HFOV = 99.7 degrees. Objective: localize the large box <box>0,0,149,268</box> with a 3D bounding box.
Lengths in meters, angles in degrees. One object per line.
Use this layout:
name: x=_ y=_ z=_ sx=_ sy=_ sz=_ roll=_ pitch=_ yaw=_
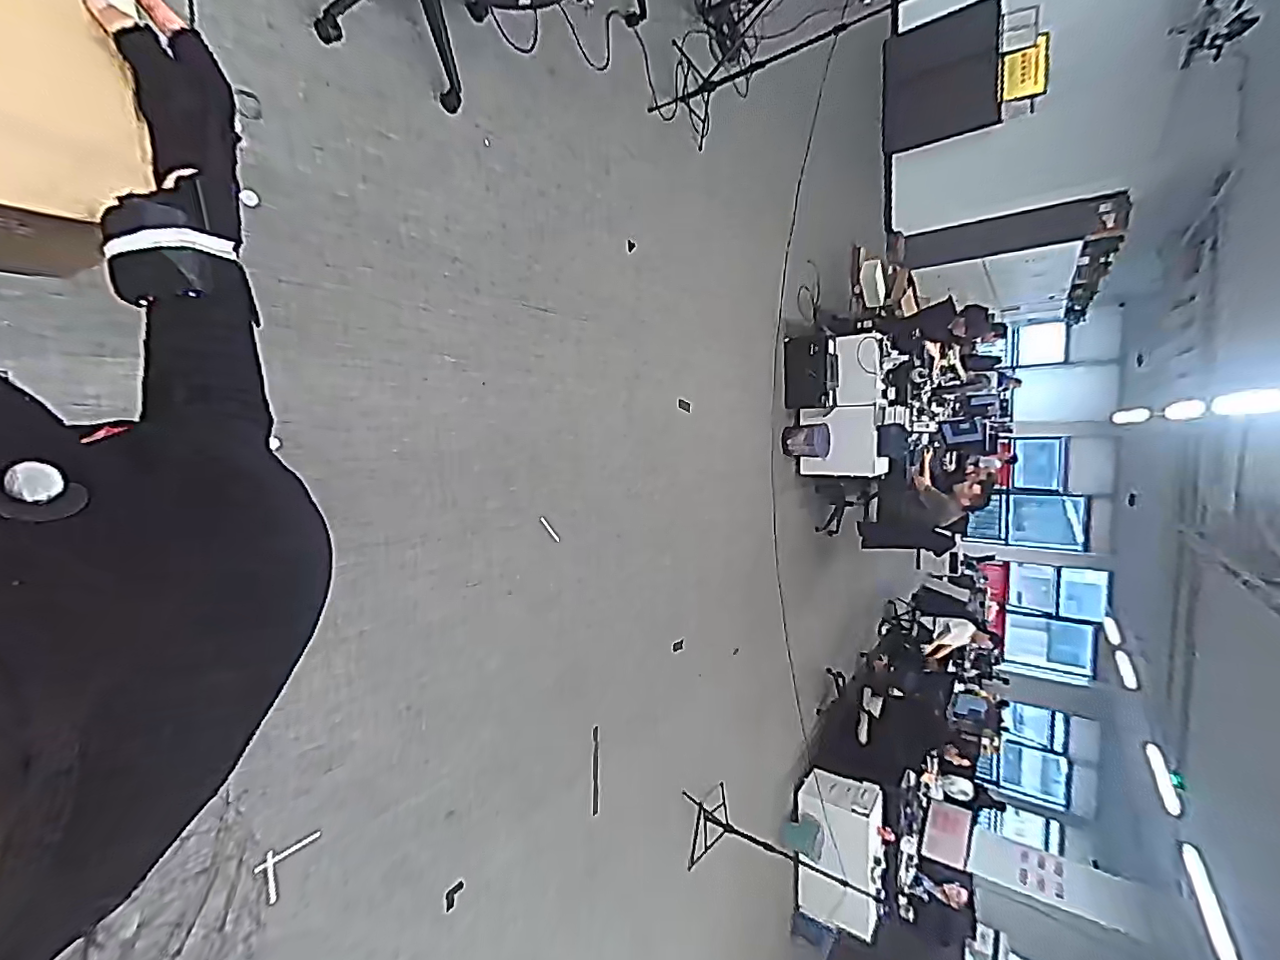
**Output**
large box: x=-0.617 y=-0.338 z=0.321 sx=0.408 sy=0.320 sz=0.320 roll=-11 pitch=106 yaw=-55
